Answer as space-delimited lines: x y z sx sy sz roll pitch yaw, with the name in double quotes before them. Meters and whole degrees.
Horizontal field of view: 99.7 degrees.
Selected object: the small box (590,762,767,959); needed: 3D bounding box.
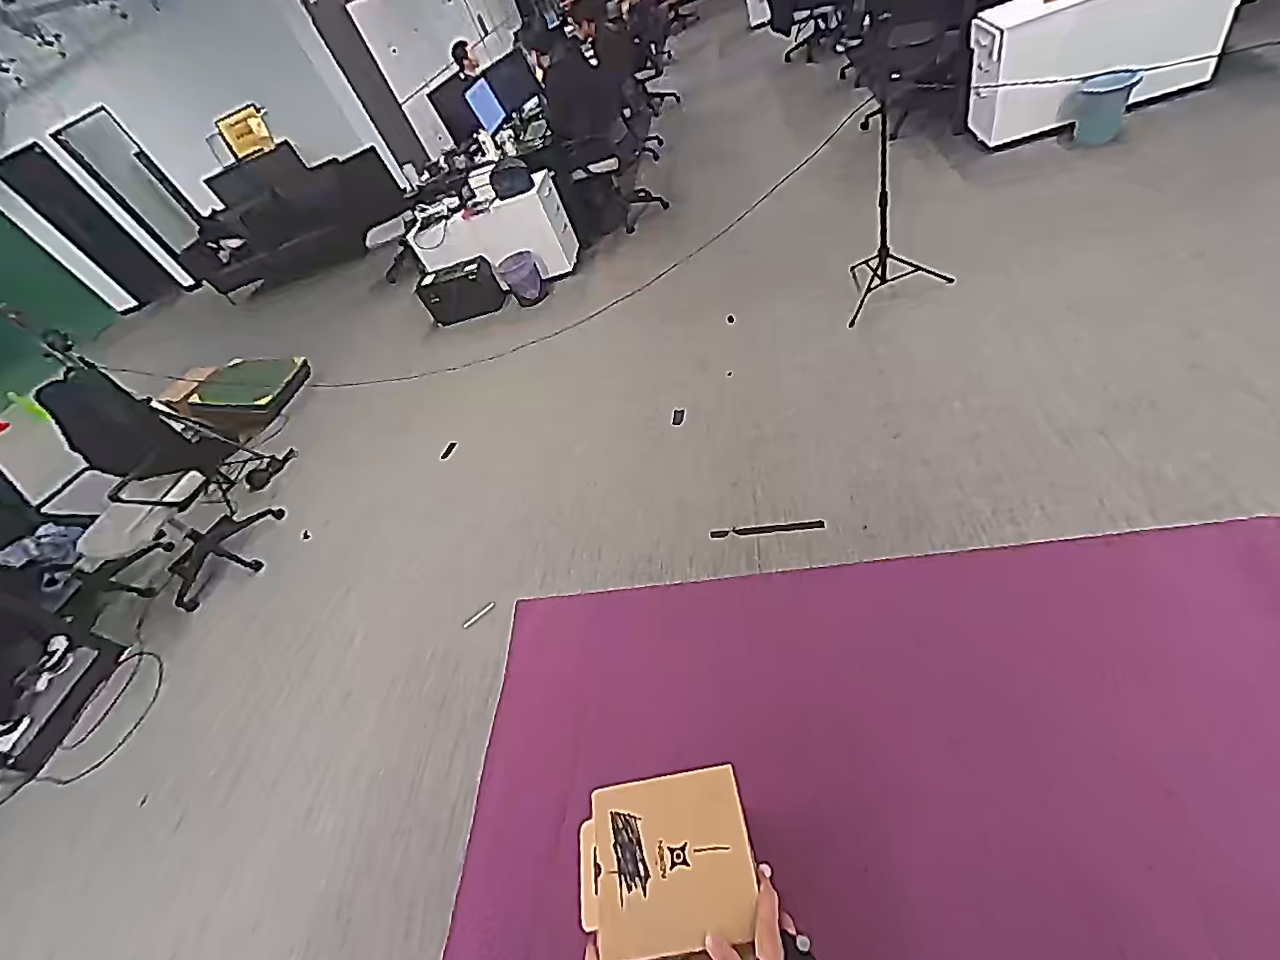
"small box" 0.046 0.467 0.649 0.179 0.176 0.168 -12 43 3
